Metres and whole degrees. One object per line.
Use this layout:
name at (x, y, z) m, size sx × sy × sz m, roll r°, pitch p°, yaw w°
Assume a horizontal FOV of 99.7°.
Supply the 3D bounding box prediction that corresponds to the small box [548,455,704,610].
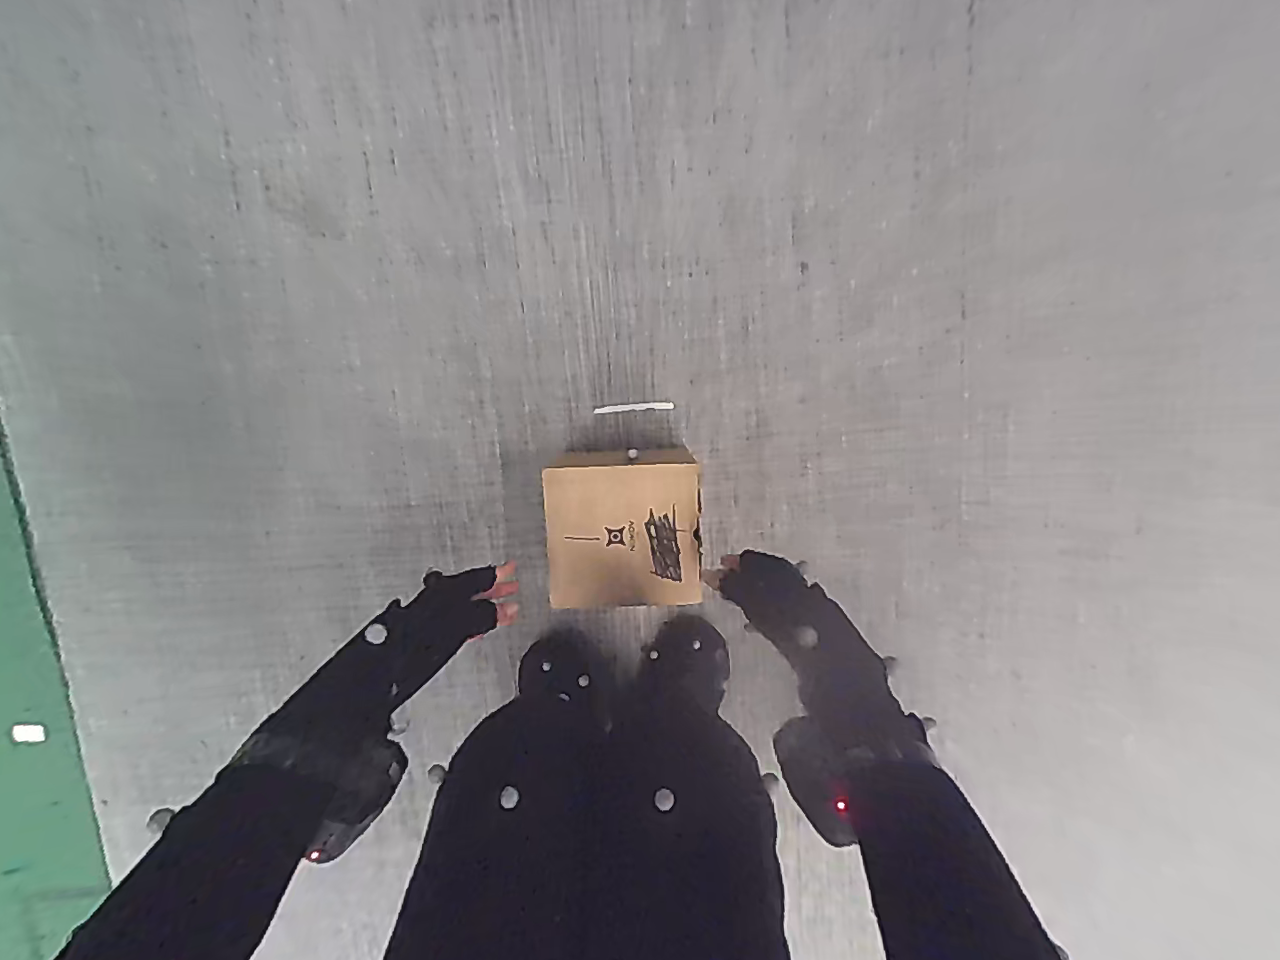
small box at (-0.014, 0.058, 0.697) m, size 0.179 × 0.176 × 0.168 m, roll -2°, pitch 98°, yaw 2°
